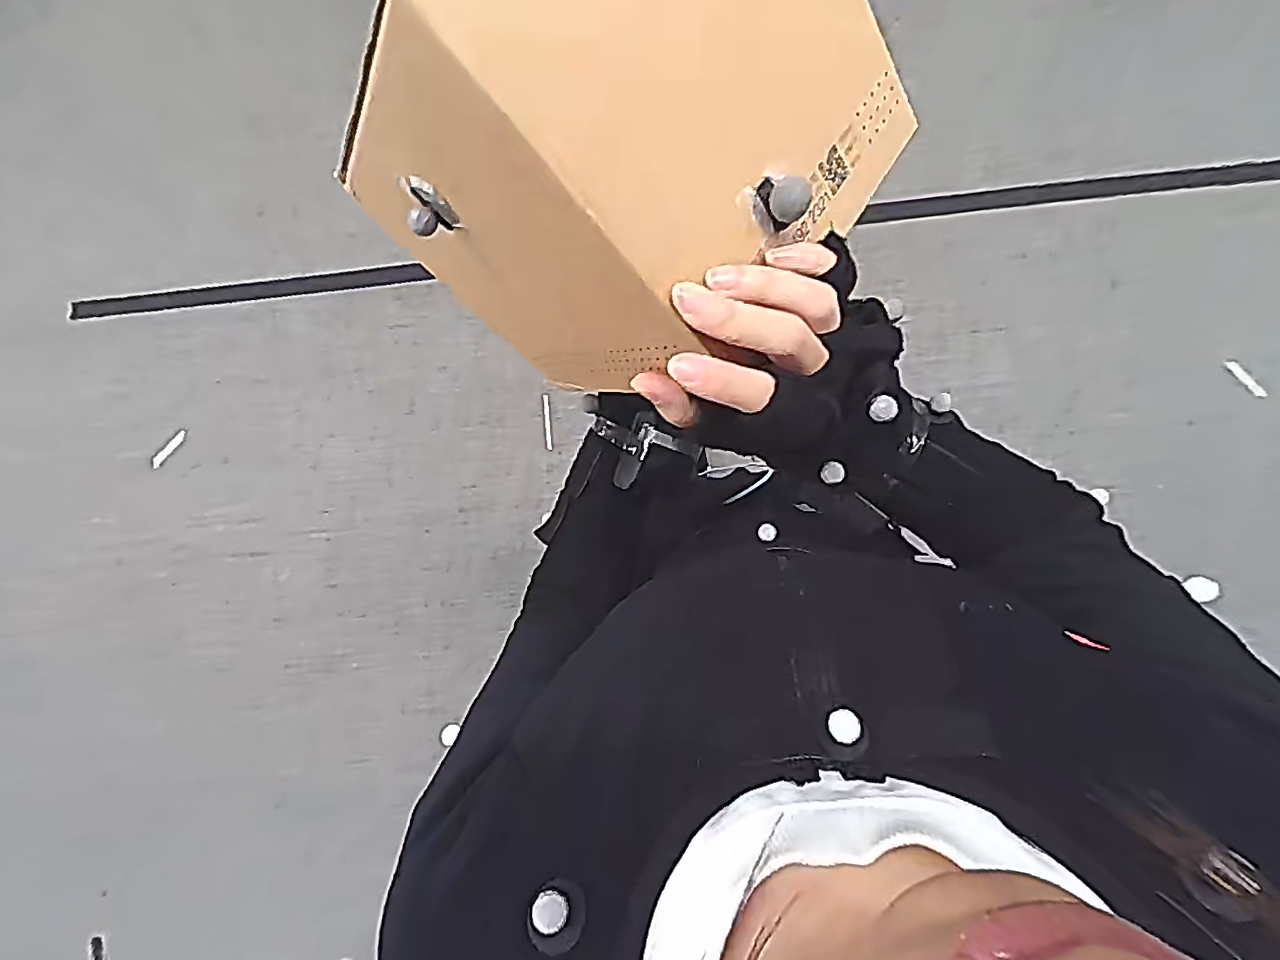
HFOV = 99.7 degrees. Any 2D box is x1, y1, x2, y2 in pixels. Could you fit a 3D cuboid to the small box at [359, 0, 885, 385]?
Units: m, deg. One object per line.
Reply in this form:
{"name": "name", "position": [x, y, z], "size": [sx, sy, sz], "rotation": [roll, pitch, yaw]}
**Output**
{"name": "small box", "position": [-0.013, -0.165, 0.284], "size": [0.176, 0.179, 0.168], "rotation": [40, 77, -31]}
